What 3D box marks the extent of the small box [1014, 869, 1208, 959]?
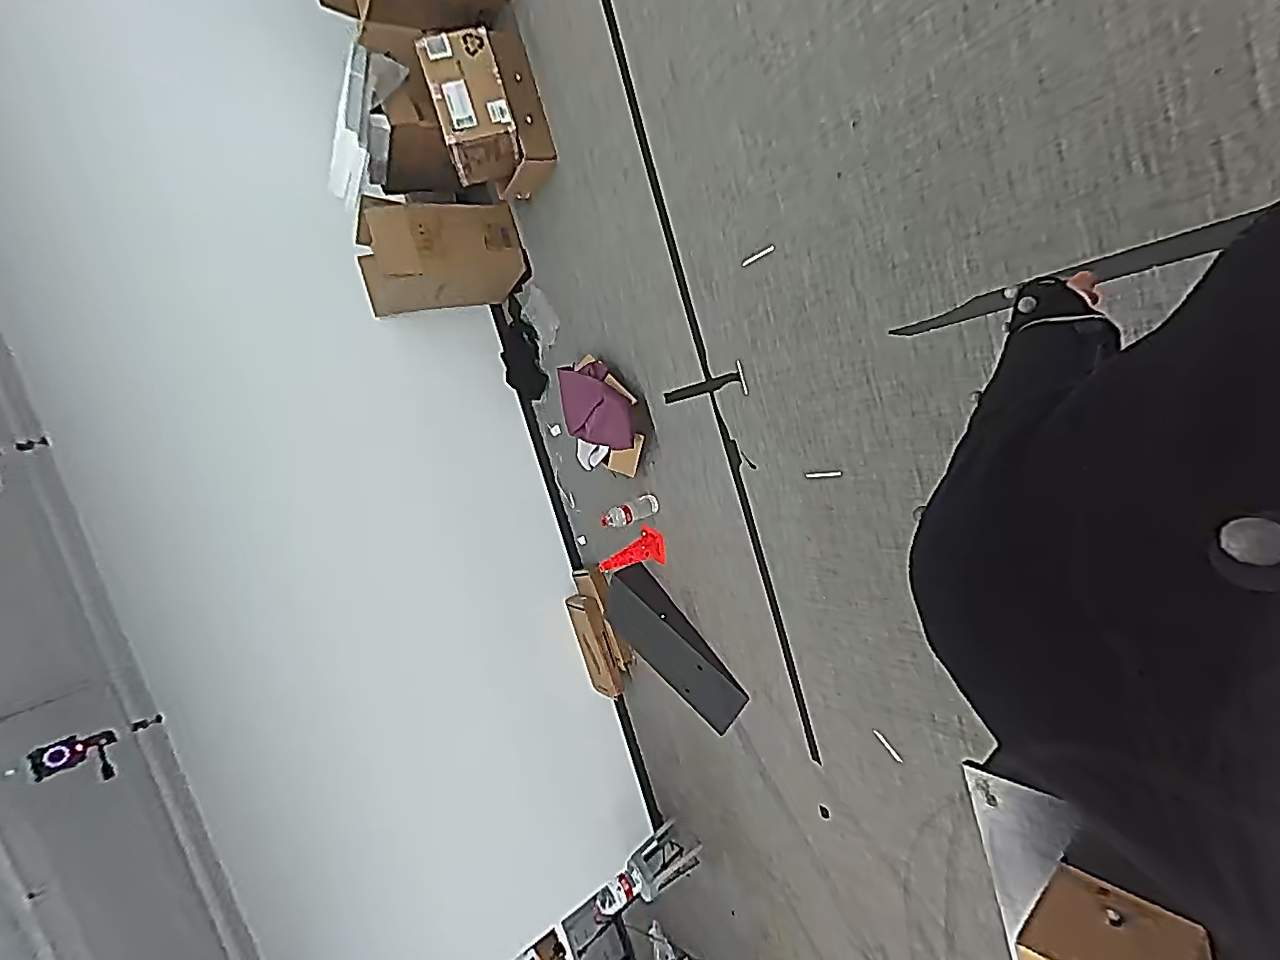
[{"bbox_3d":[0.659,0.705,0.749,0.168,0.176,0.179,-4,104,57],"label":"small box"}]
